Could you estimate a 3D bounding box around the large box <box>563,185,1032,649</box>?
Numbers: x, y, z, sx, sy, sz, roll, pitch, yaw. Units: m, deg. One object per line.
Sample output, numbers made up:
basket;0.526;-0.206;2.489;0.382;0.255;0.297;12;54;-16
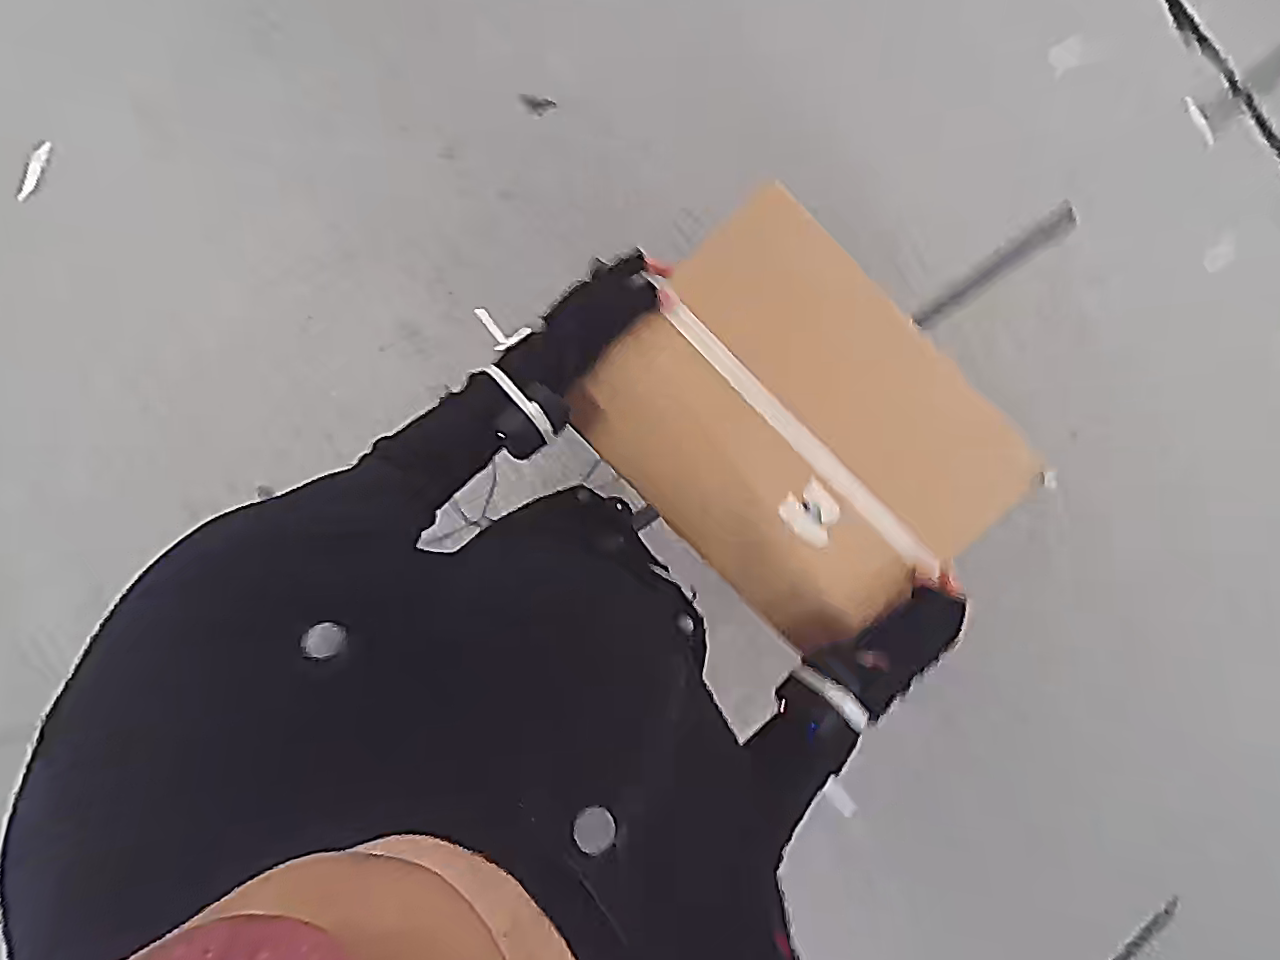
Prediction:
large box;0.165;-0.073;0.711;0.320;0.320;0.408;-44;93;7
